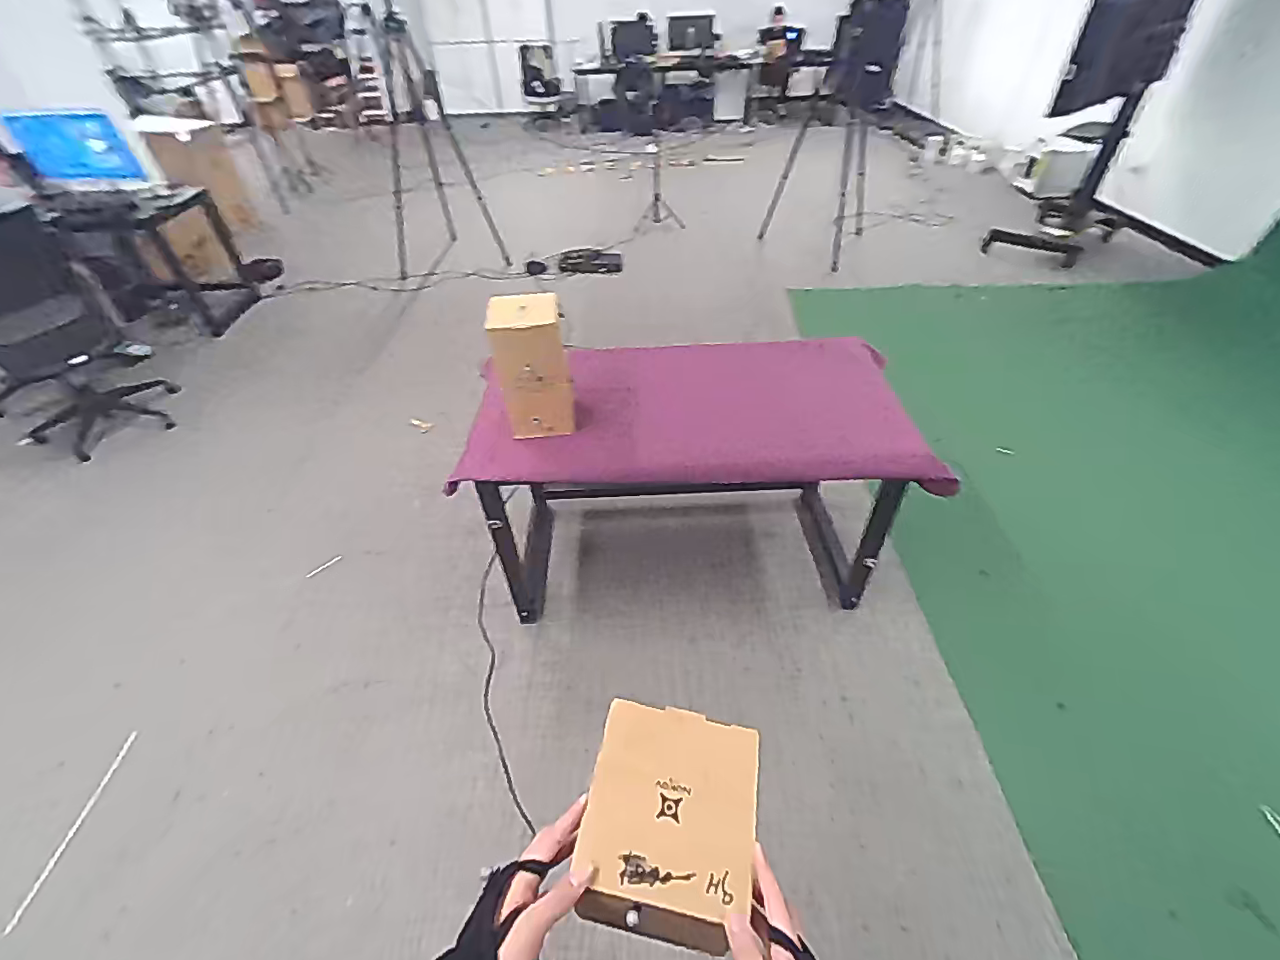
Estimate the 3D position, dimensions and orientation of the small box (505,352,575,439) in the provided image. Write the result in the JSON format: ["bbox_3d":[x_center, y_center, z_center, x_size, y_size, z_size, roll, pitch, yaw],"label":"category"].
[{"bbox_3d":[-0.270,-0.233,1.489,0.168,0.176,0.179,-5,43,-3],"label":"small box"}]

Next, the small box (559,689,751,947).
[{"bbox_3d":[0.020,0.362,0.584,0.168,0.176,0.179,9,42,8],"label":"small box"}]

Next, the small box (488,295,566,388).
[{"bbox_3d":[-0.281,-0.353,1.376,0.168,0.176,0.179,-6,43,-4],"label":"small box"}]
